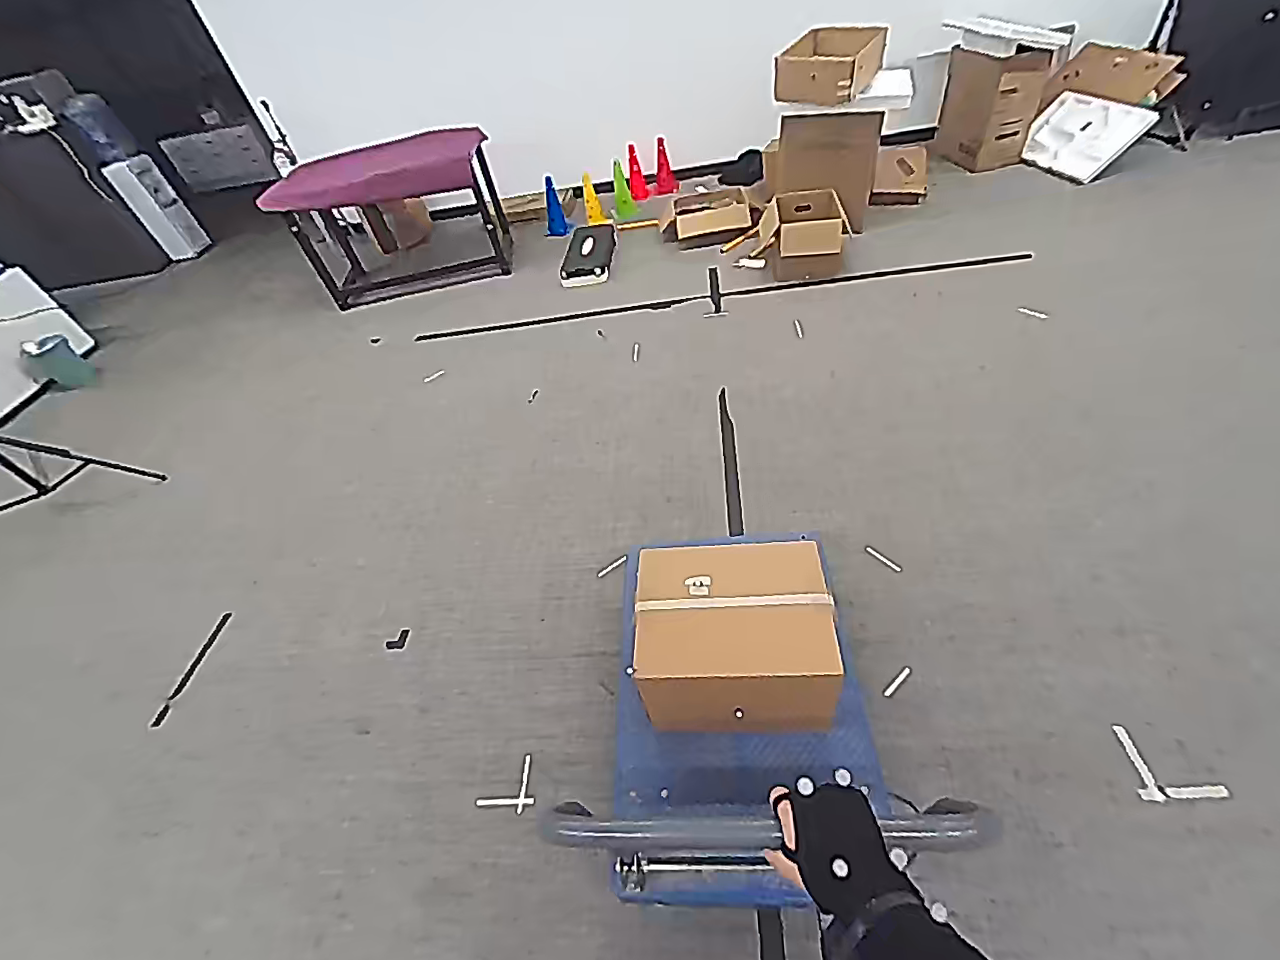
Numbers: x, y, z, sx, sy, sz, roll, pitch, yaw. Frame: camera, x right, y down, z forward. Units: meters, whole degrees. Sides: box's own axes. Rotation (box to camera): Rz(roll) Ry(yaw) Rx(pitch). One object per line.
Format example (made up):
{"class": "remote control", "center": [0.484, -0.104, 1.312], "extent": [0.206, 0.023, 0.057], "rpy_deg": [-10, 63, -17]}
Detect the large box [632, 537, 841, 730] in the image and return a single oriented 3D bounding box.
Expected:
{"class": "large box", "center": [0.212, 0.359, 1.238], "extent": [0.408, 0.320, 0.320], "rpy_deg": [-6, 45, 9]}
